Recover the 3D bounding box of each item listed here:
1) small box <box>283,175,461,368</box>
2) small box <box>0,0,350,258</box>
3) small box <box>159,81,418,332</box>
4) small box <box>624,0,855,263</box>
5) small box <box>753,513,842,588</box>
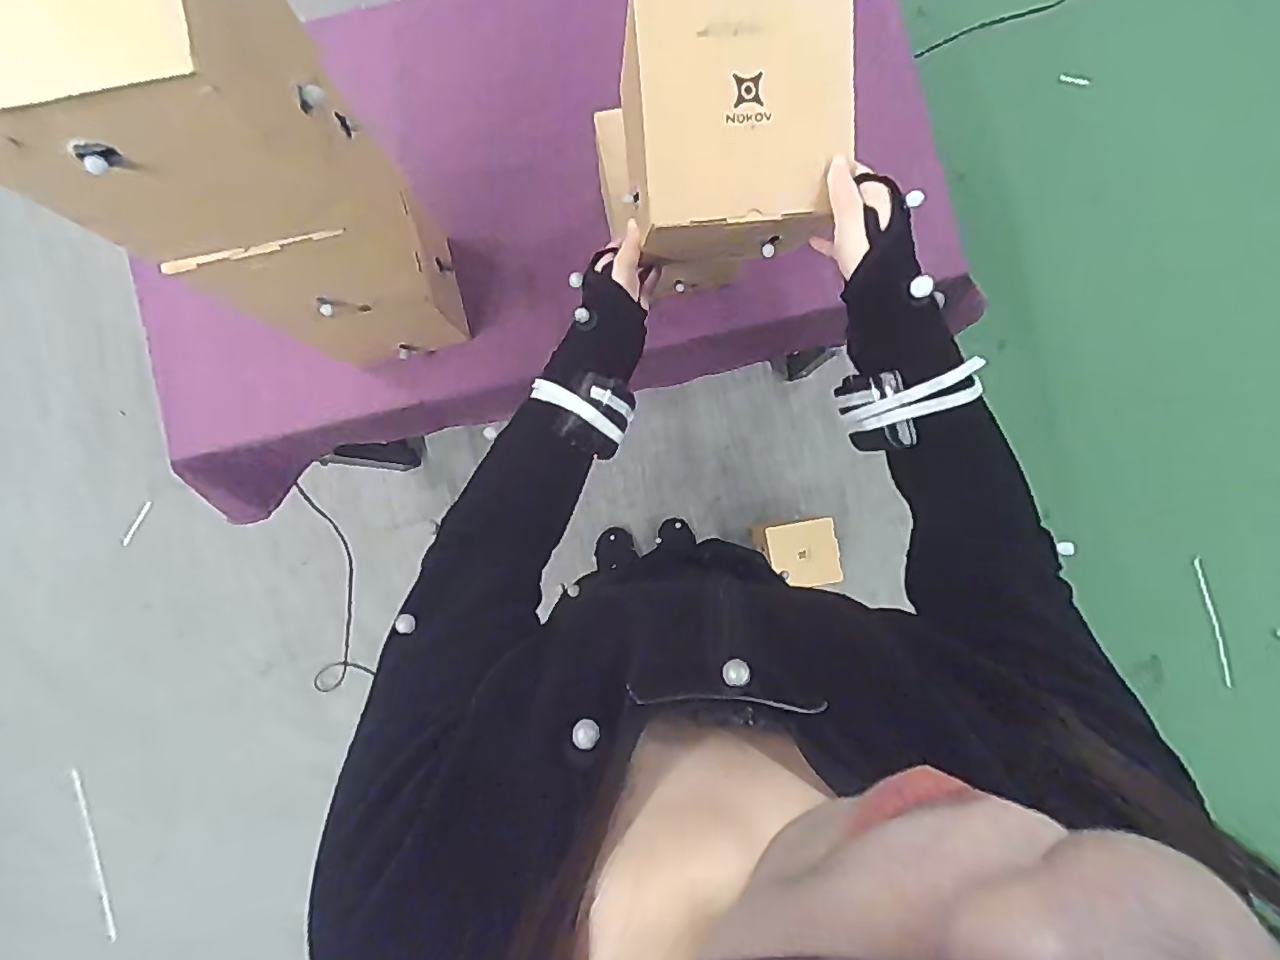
[{"bbox_3d":[-0.354,-0.263,0.720,0.179,0.176,0.168,-15,88,-2],"label":"small box"},{"bbox_3d":[-0.348,-0.284,0.390,0.179,0.176,0.168,-12,88,-1],"label":"small box"},{"bbox_3d":[-0.354,-0.275,0.555,0.168,0.176,0.179,-13,88,0],"label":"small box"},{"bbox_3d":[0.076,-0.301,0.488,0.168,0.176,0.179,-6,102,-4],"label":"small box"},{"bbox_3d":[0.409,0.182,1.437,0.179,0.176,0.168,-10,89,-1],"label":"small box"}]
